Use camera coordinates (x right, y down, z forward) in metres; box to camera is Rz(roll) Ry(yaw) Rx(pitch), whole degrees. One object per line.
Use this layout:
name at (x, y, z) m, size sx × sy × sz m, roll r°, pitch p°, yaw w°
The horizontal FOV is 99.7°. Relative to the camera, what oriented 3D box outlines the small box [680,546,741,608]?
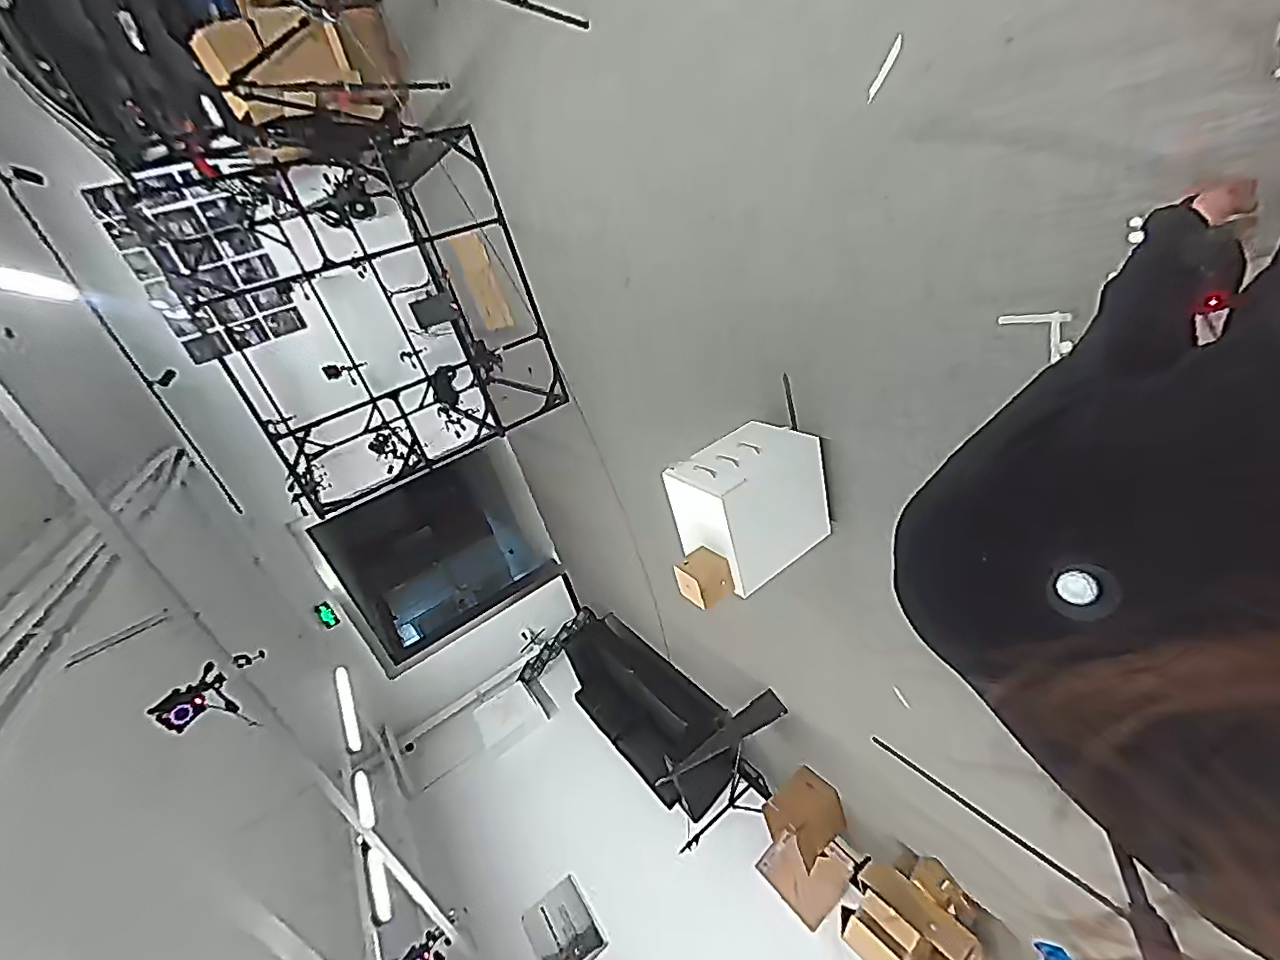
small box at (0.302, 0.406, 2.310) m, size 0.179 × 0.176 × 0.168 m, roll 26°, pitch 140°, yaw 55°
